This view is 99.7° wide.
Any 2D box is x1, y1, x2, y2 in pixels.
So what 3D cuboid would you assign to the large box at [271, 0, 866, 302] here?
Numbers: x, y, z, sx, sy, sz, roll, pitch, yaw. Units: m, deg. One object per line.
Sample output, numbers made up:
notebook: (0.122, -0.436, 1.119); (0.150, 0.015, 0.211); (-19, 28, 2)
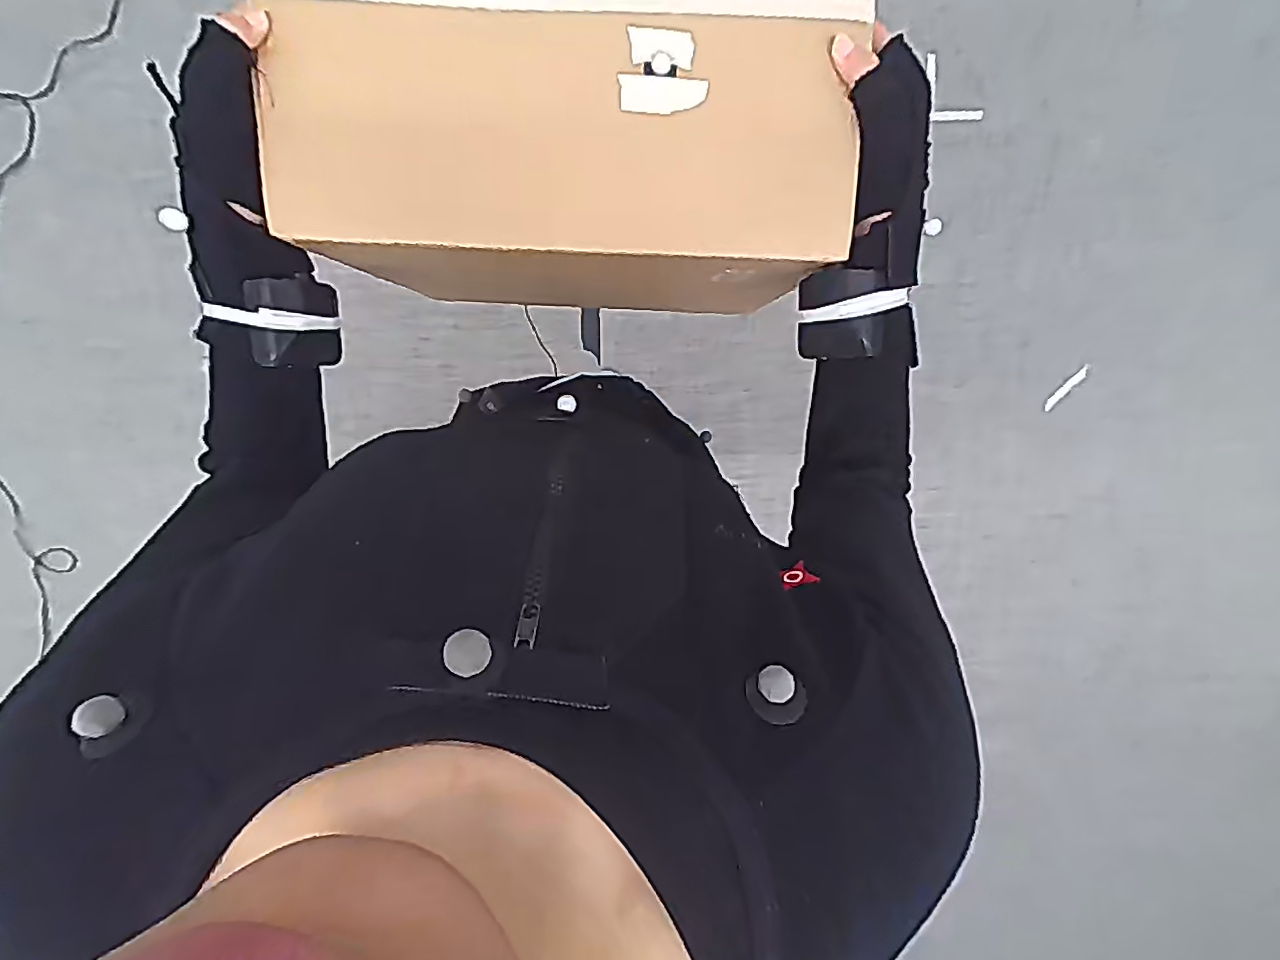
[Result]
large box: (-0.050, -0.350, 0.507); (0.408, 0.320, 0.320); (2, 102, -2)
